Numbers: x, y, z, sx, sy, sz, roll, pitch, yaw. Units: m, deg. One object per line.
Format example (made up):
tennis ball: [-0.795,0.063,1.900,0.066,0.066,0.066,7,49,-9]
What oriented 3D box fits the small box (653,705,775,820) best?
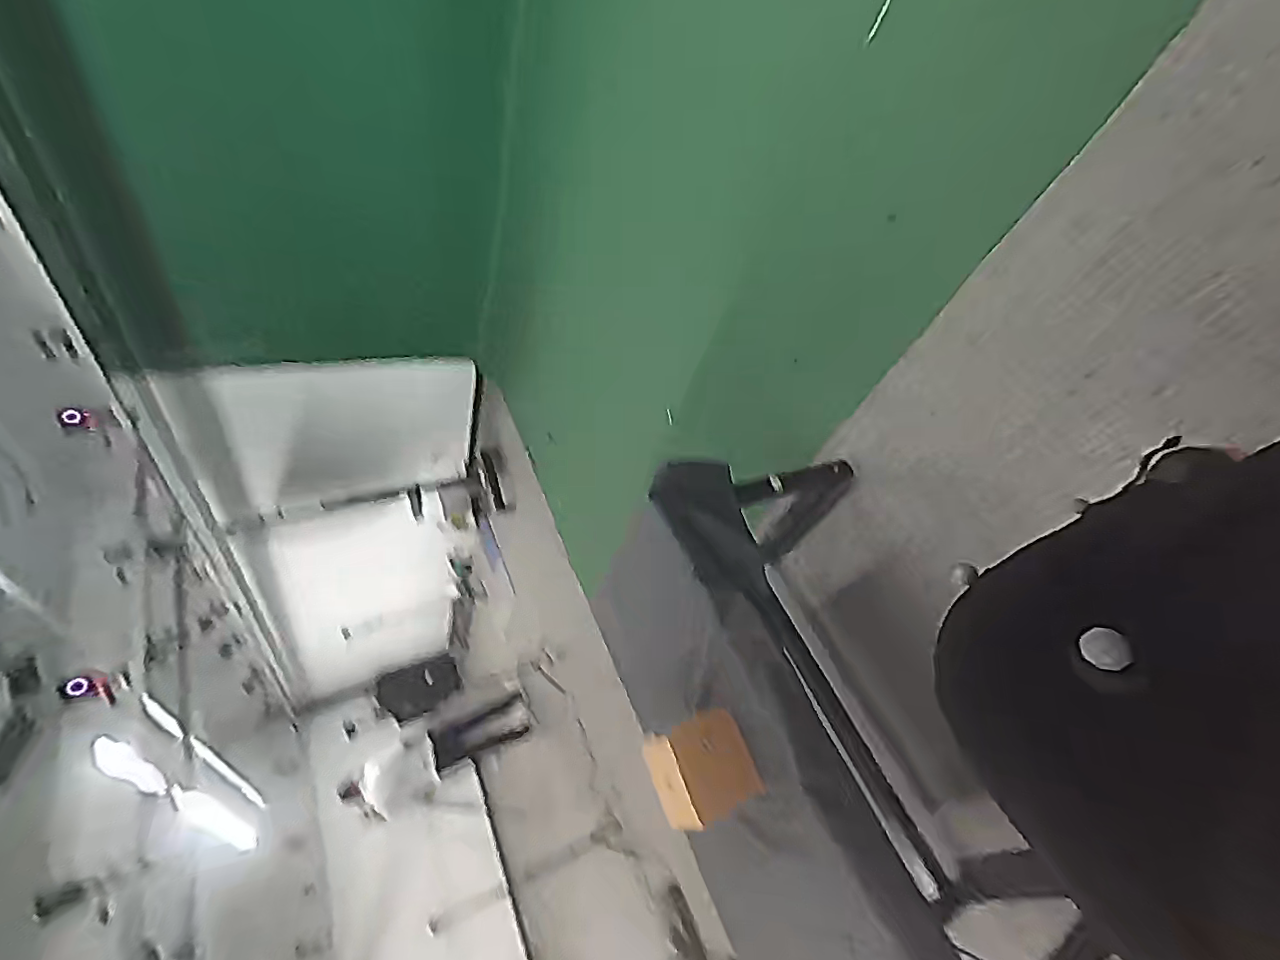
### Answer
small box: [0.158,0.612,1.183,0.179,0.176,0.168,65,150,21]
